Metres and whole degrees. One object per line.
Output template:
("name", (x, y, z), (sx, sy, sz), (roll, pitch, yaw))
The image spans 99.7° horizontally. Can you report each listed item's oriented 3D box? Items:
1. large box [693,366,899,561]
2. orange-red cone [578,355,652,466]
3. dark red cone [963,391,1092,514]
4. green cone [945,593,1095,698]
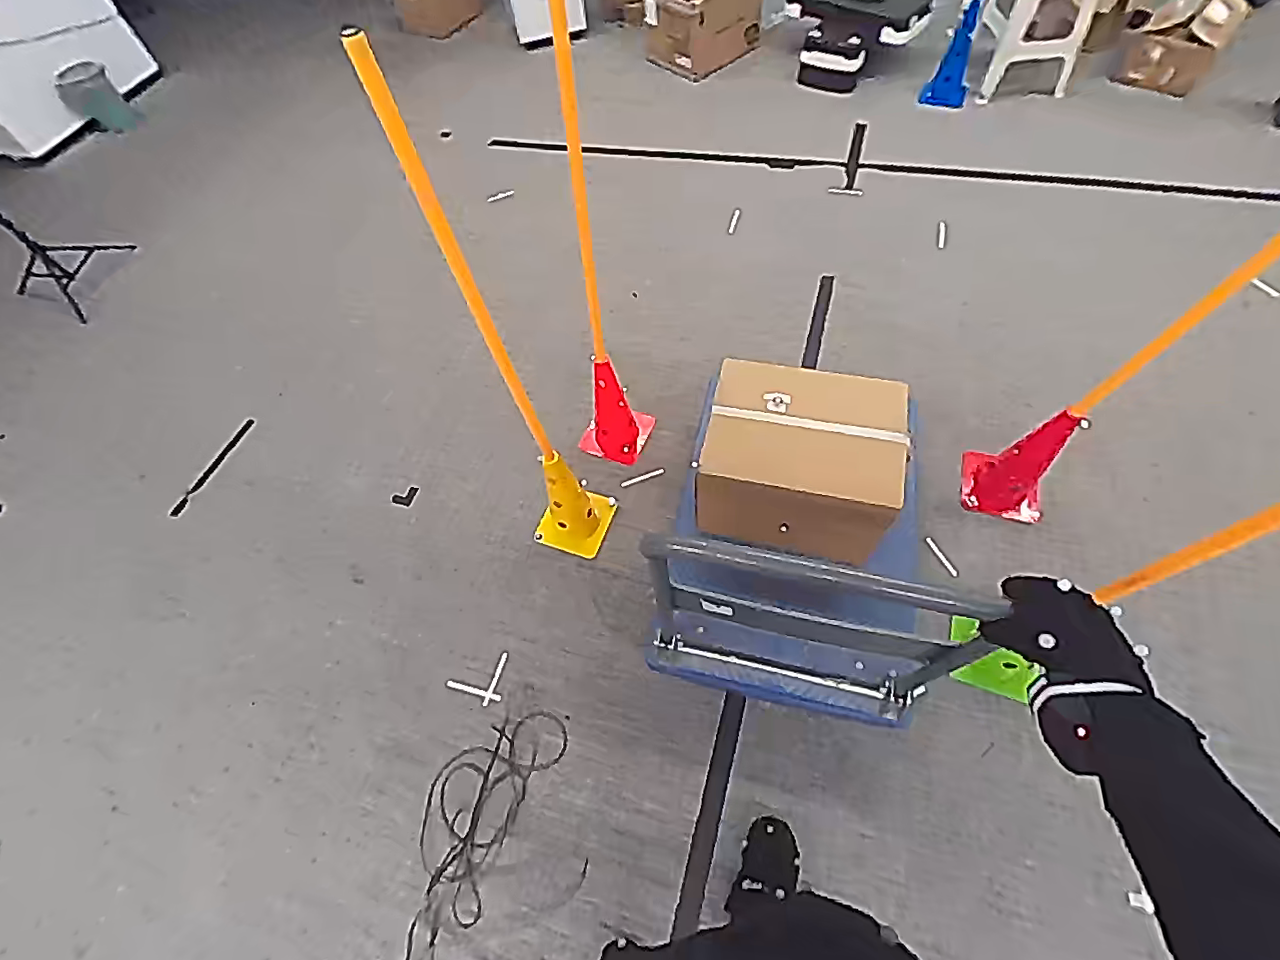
("large box", (0.355, -0.032, 1.277), (0.408, 0.320, 0.320), (10, 62, 13))
("orange-red cone", (-0.093, -0.236, 1.610), (0.198, 0.360, 0.199), (19, 62, 15))
("dark red cone", (1.008, -0.087, 1.383), (0.201, 0.394, 0.202), (13, 63, 11))
("green cone", (0.850, 0.325, 1.180), (0.202, 0.368, 0.200), (16, 63, 13))
